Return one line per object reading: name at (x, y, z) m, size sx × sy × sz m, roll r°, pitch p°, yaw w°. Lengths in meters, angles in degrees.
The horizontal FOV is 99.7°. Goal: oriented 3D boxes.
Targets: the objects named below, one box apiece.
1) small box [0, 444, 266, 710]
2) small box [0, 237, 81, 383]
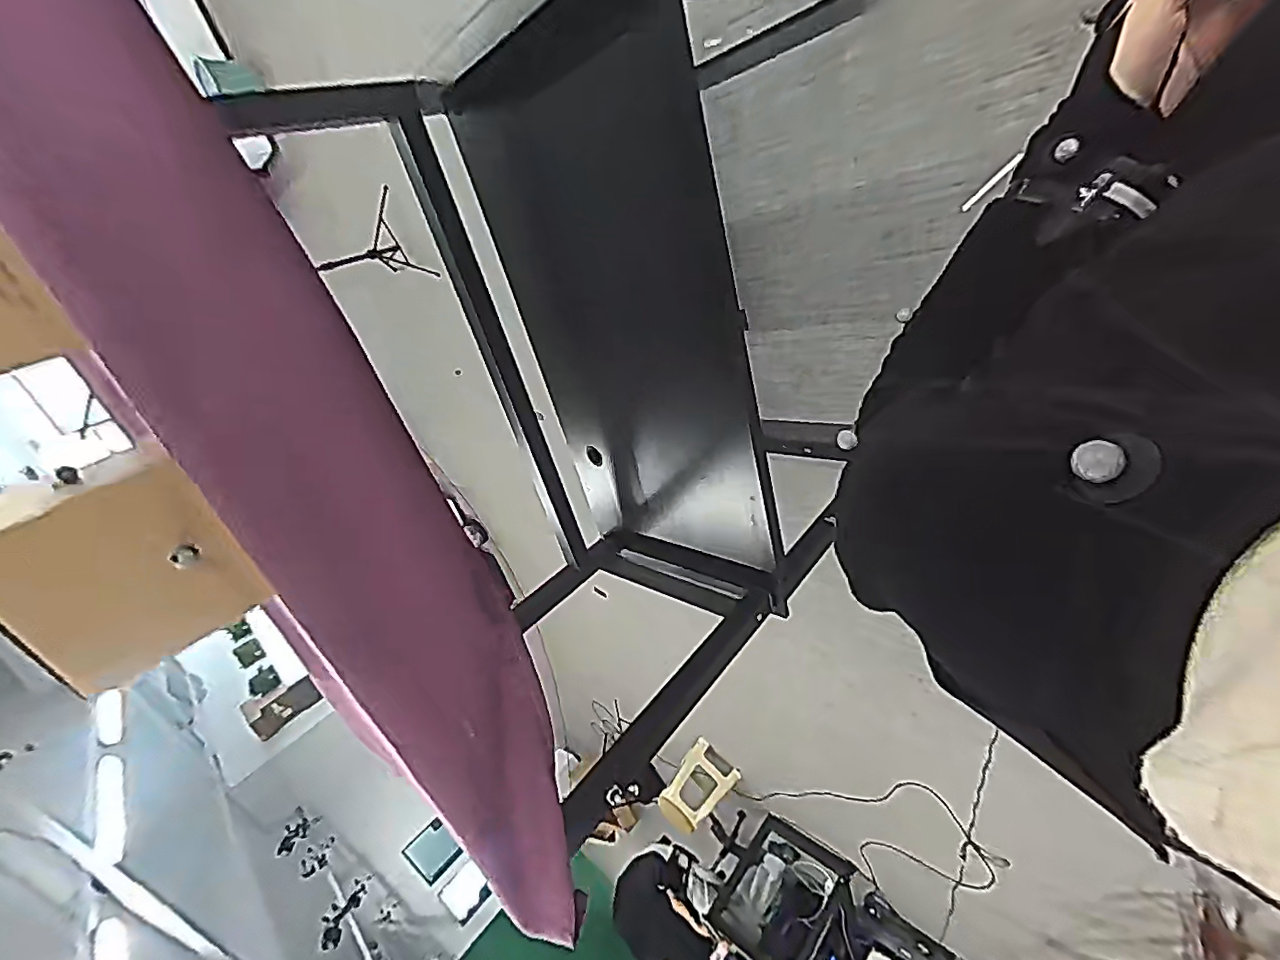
small box at (-0.526, 0.081, 0.547) m, size 0.168 × 0.176 × 0.179 m, roll 15°, pitch 130°, yaw 43°
small box at (-0.603, -0.149, 0.430) m, size 0.179 × 0.176 × 0.168 m, roll 15°, pitch 132°, yaw 43°
